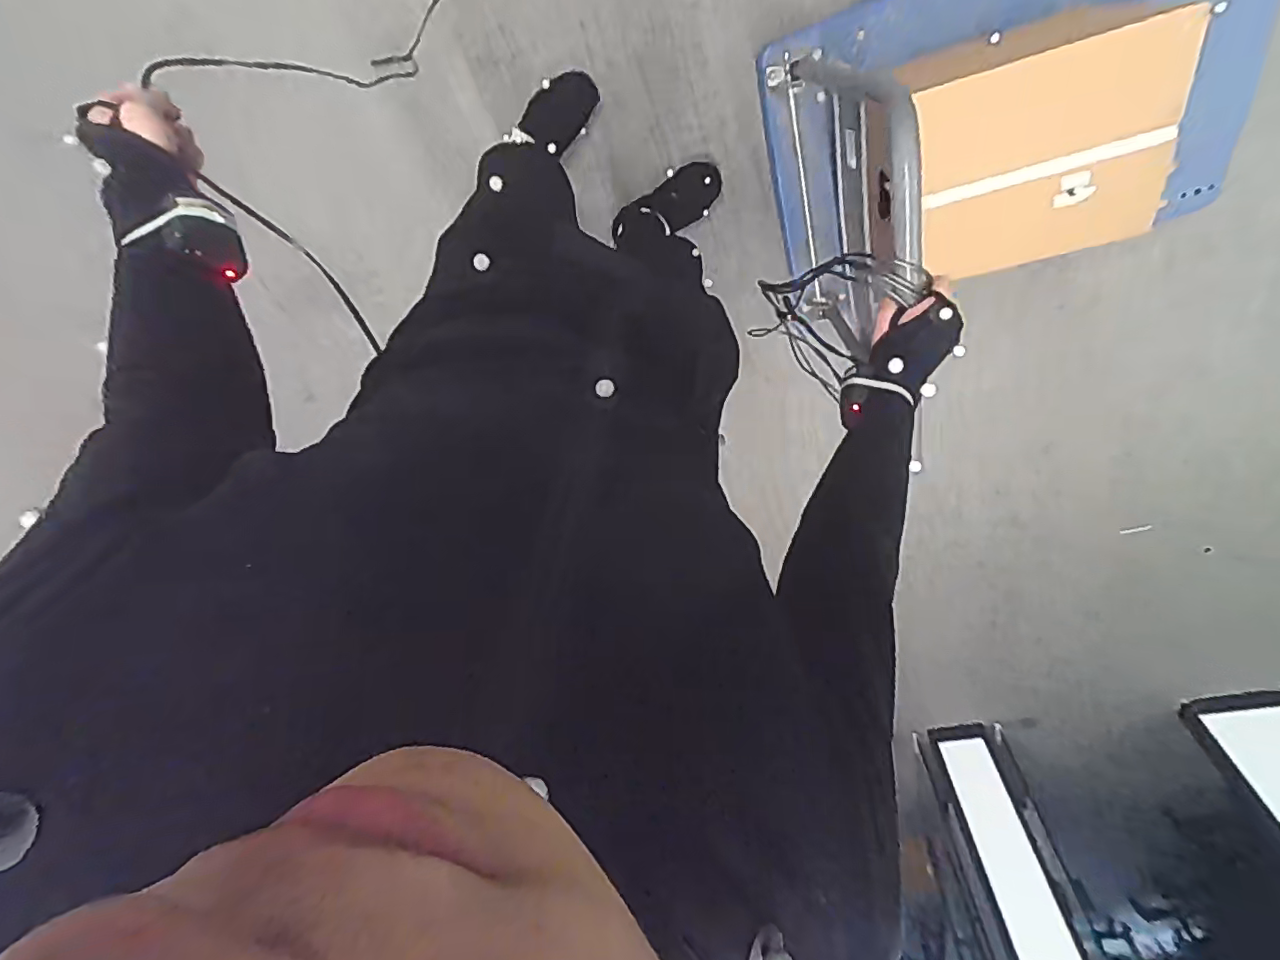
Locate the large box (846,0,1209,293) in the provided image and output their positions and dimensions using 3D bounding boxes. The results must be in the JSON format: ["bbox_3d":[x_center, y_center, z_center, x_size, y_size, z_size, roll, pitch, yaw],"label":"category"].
[{"bbox_3d":[0.619,-0.587,0.968,0.408,0.320,0.320,-11,130,11],"label":"large box"}]
